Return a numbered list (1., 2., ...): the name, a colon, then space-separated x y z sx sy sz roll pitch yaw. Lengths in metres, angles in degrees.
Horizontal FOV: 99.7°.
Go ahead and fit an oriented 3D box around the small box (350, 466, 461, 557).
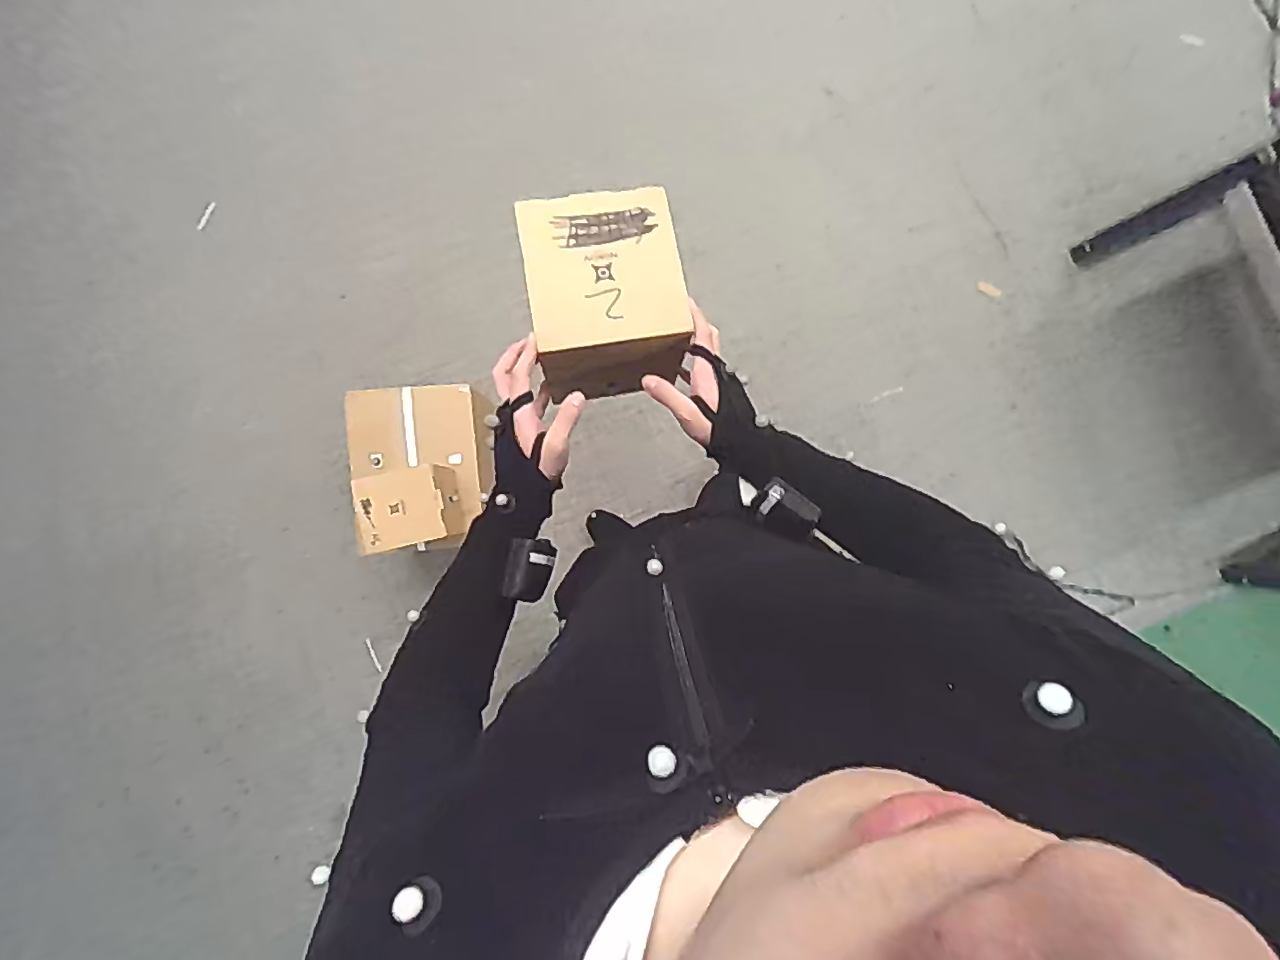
1. small box: -0.518 0.069 1.227 0.179 0.176 0.168 -13 88 -4
